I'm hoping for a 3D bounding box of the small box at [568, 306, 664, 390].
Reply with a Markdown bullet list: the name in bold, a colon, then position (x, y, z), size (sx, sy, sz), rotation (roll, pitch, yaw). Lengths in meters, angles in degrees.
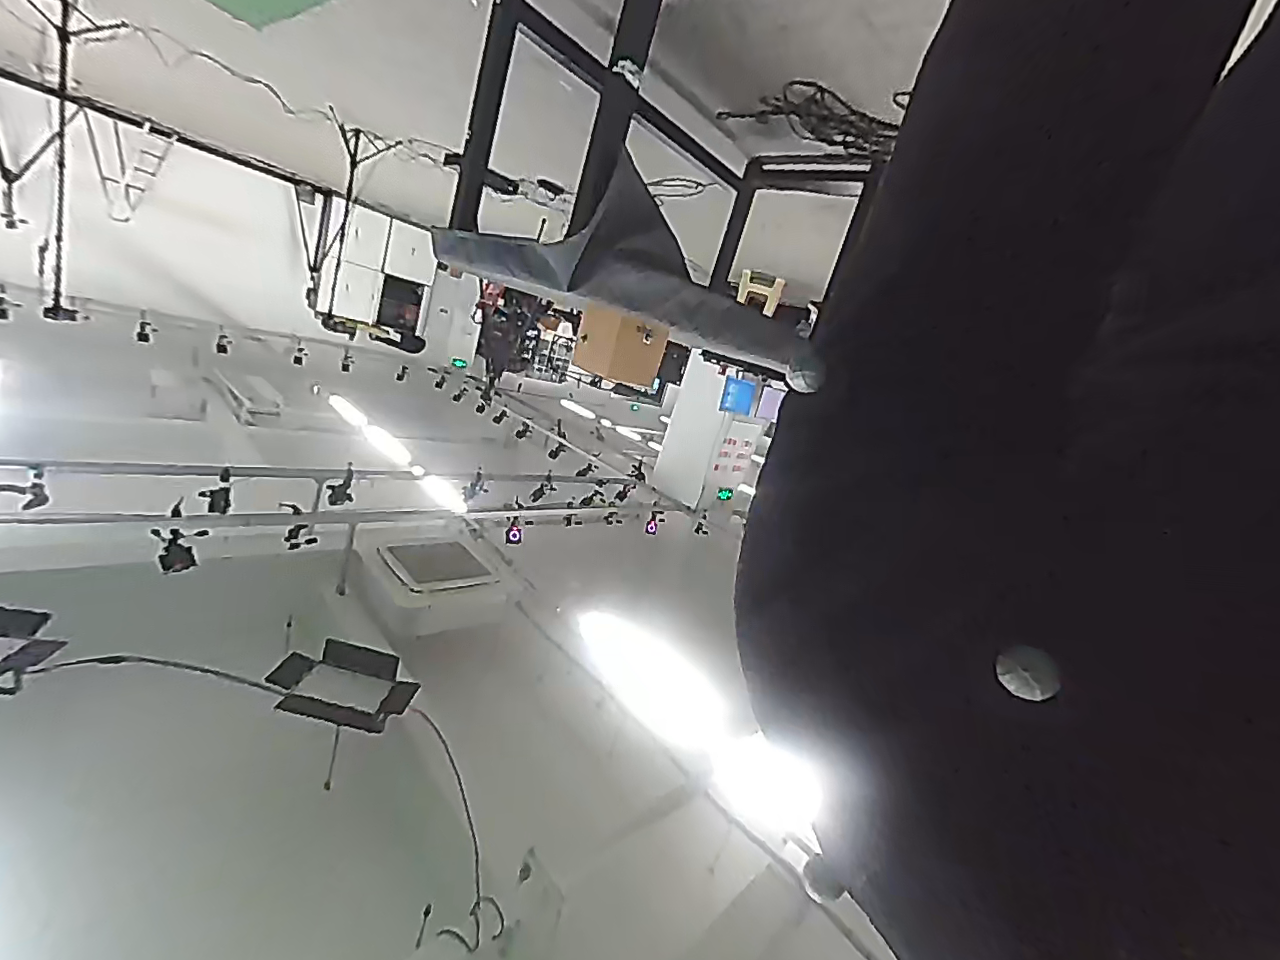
- **small box**: position (-0.062, -0.352, 1.428), size (0.168, 0.176, 0.179), rotation (3, -161, -41)
